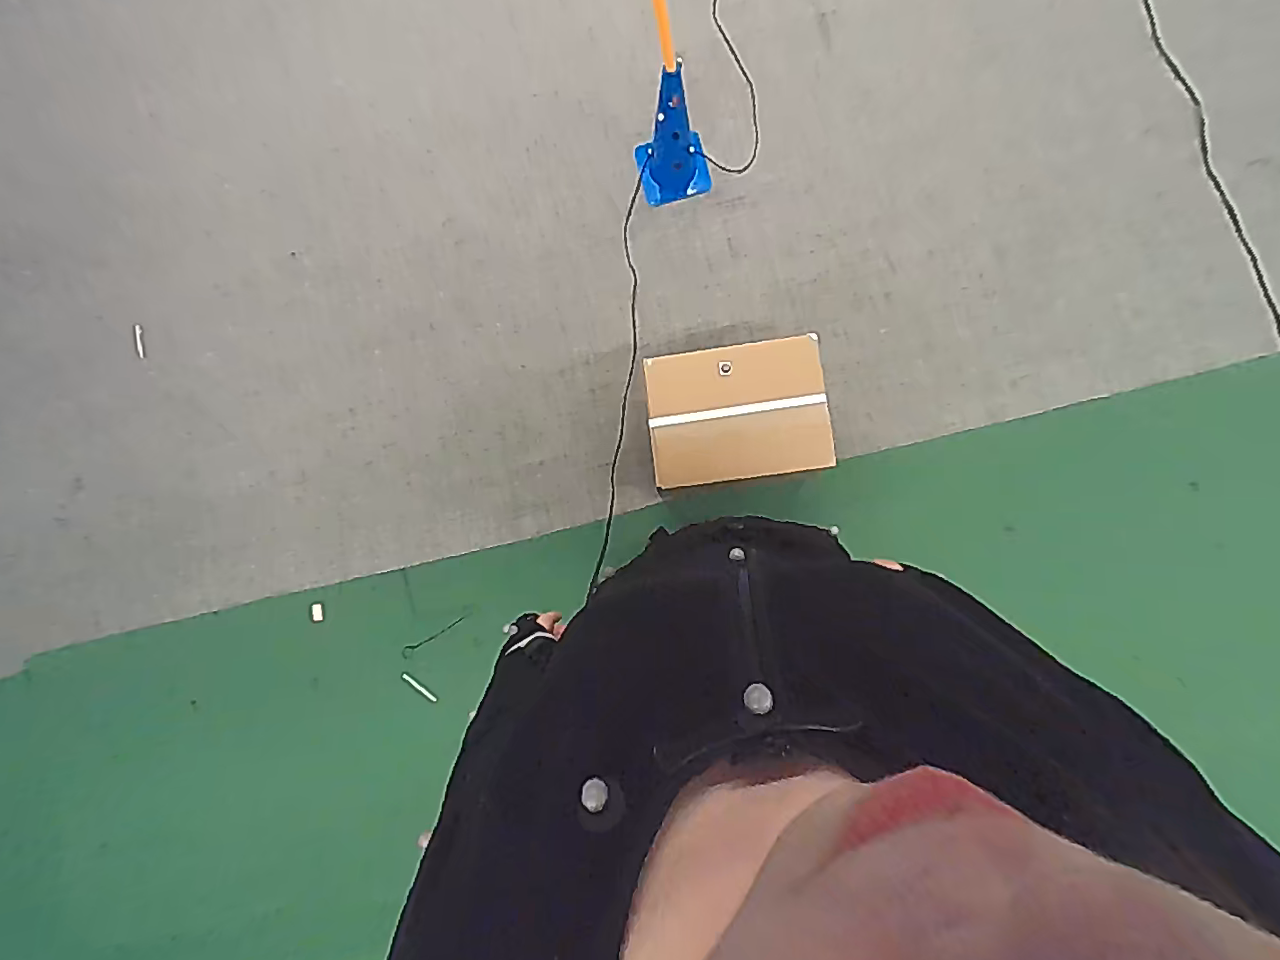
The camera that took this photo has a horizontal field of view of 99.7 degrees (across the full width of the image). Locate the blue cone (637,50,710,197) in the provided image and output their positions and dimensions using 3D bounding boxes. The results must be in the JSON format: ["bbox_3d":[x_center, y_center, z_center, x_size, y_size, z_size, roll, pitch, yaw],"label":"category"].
[{"bbox_3d":[0.085,-0.954,1.434,0.193,0.380,0.192,-17,83,4],"label":"blue cone"}]
